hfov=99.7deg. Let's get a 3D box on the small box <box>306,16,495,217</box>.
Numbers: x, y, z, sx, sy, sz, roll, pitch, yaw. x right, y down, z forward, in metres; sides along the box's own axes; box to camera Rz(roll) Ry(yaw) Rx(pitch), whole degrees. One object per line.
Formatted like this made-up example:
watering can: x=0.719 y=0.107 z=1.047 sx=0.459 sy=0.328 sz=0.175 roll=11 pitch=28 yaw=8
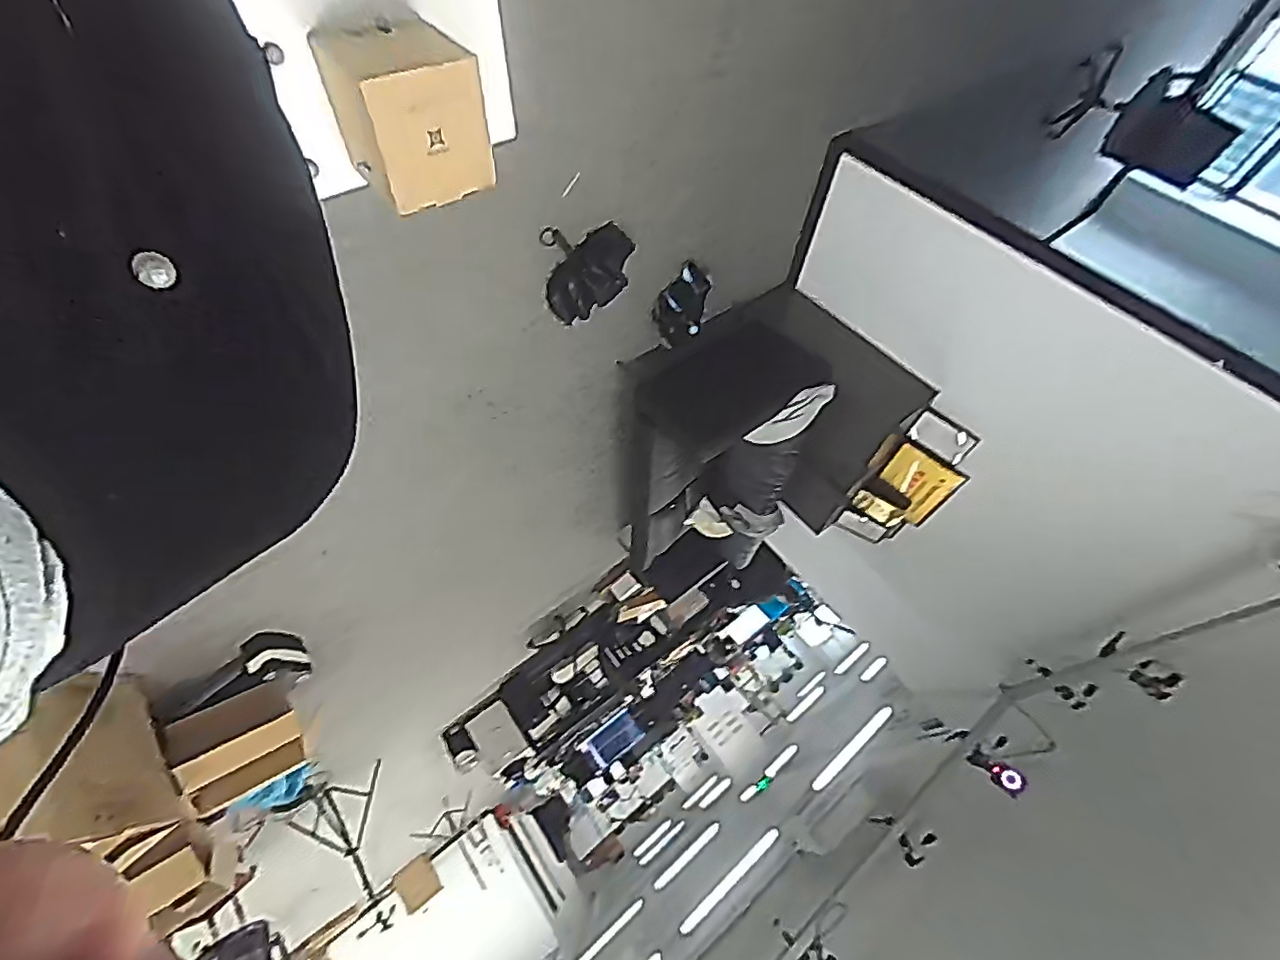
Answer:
small box: x=-0.335 y=-0.521 z=0.777 sx=0.168 sy=0.176 sz=0.179 roll=-34 pitch=154 yaw=-23
